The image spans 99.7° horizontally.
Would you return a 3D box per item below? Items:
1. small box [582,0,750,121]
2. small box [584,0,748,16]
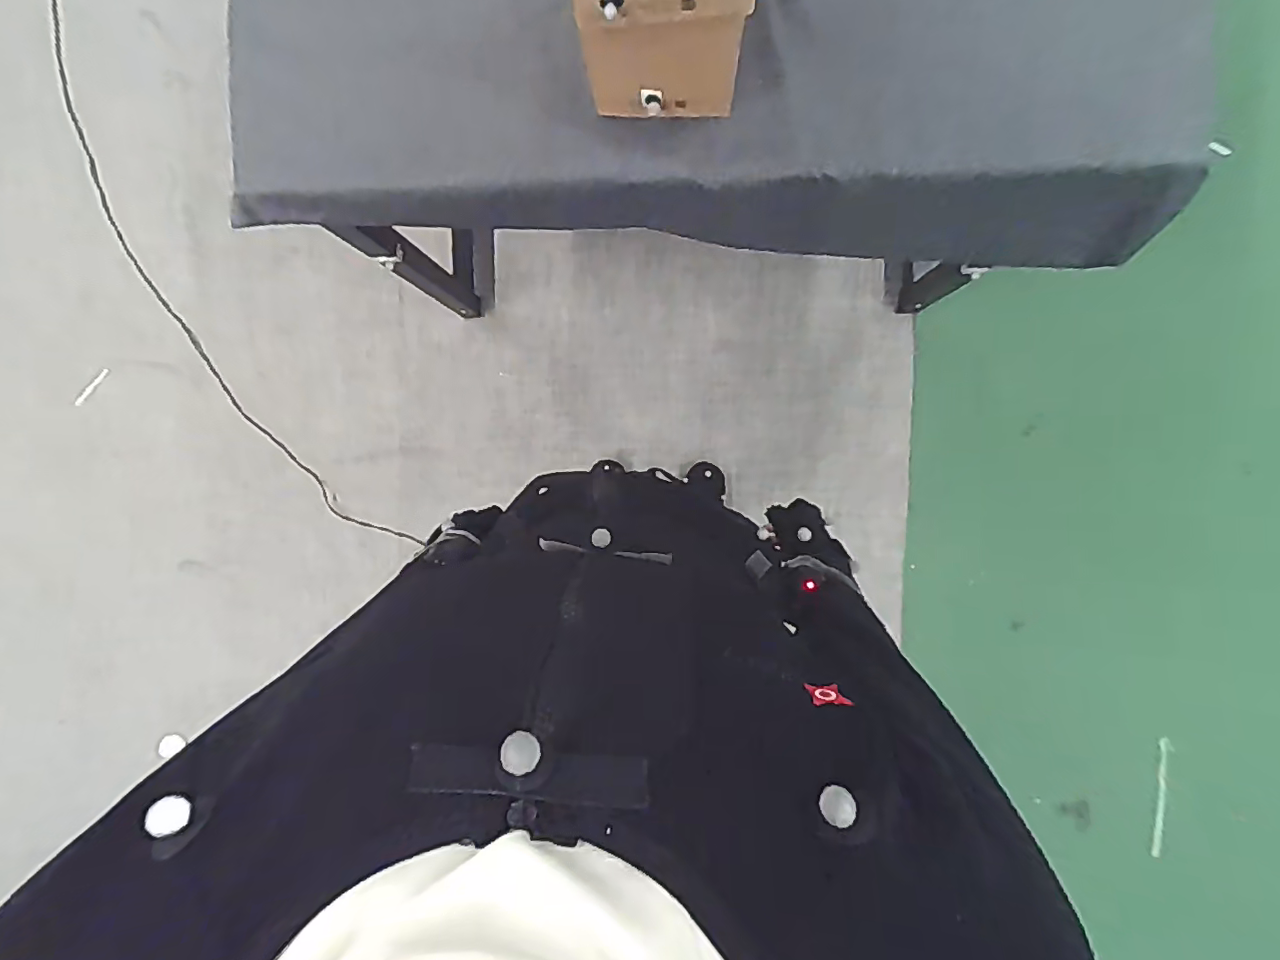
[{"bbox_3d":[0.033,-0.538,0.599,0.168,0.176,0.179,1,93,5],"label":"small box"},{"bbox_3d":[0.016,-0.522,0.436,0.168,0.176,0.179,-2,90,5],"label":"small box"}]
